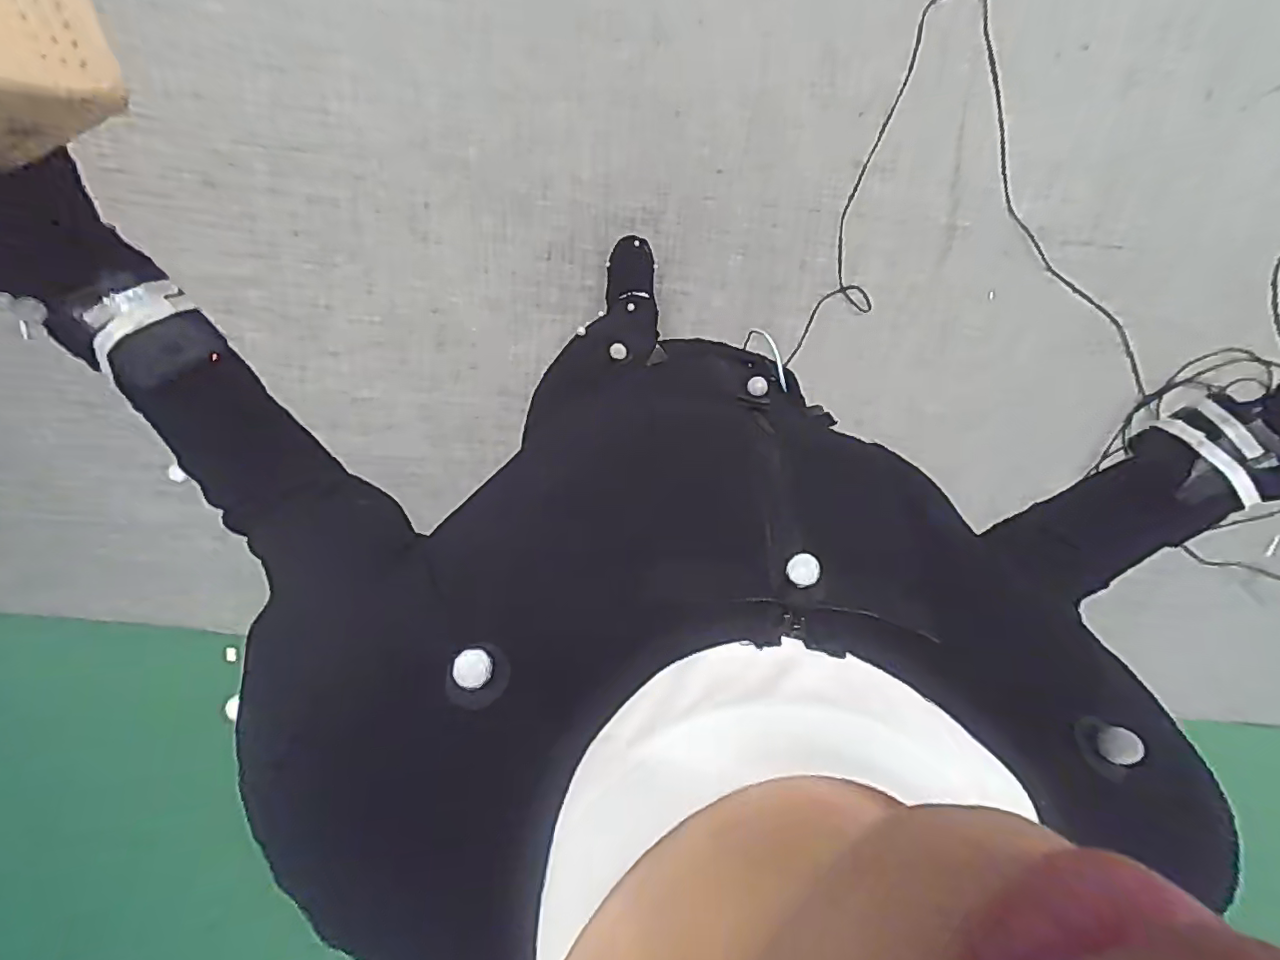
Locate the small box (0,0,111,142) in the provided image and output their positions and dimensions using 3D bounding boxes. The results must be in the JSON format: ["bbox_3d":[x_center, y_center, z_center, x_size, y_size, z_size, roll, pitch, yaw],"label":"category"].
[{"bbox_3d":[-0.333,-0.218,0.163,0.168,0.176,0.179,5,117,25],"label":"small box"}]
